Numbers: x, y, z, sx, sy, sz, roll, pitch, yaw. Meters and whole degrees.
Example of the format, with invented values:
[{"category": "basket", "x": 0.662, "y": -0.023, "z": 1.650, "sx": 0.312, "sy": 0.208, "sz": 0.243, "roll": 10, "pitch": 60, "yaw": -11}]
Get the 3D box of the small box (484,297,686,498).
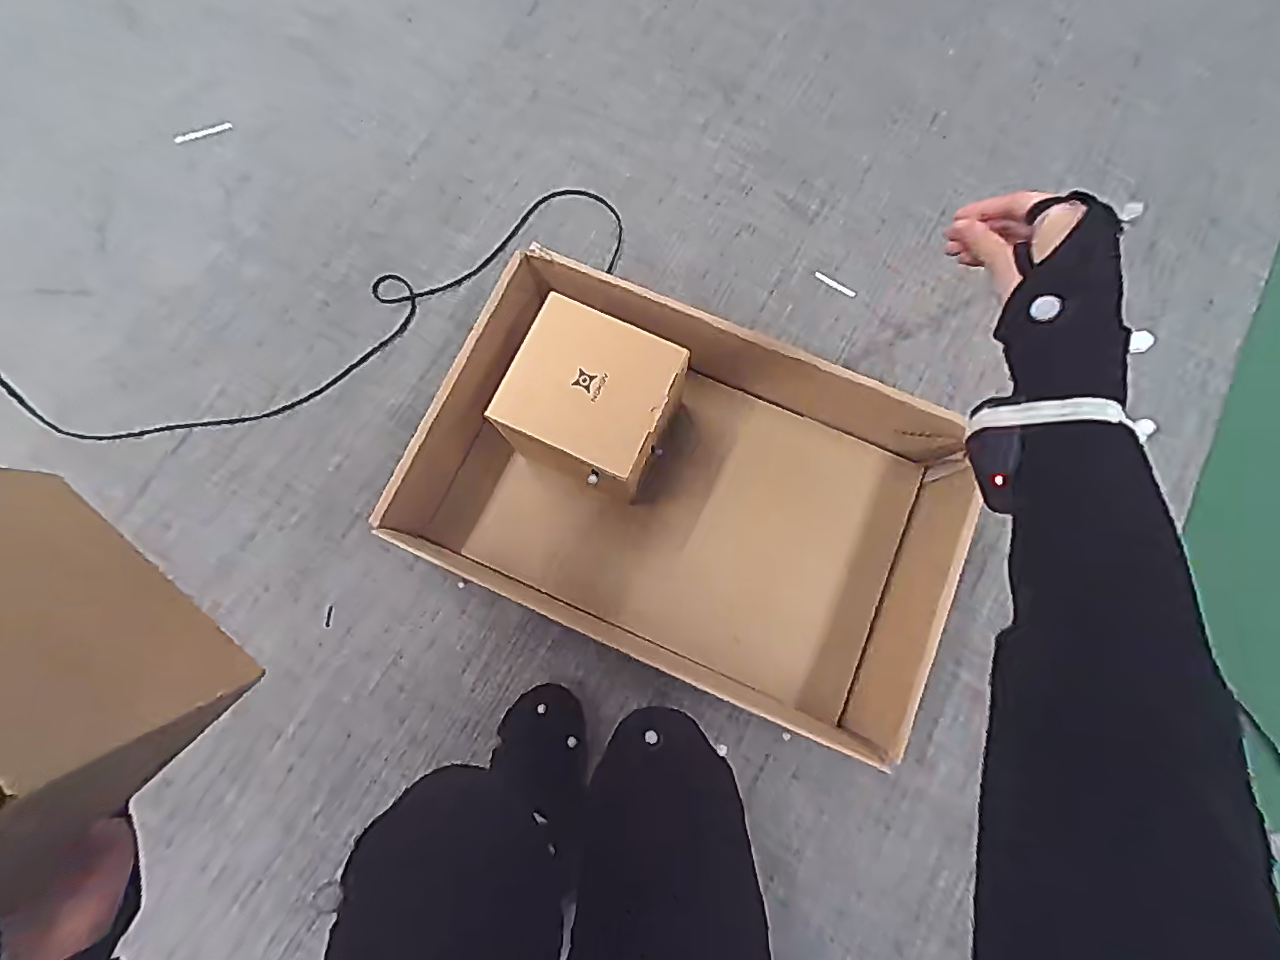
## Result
[{"category": "small box", "x": -0.061, "y": -0.089, "z": 0.676, "sx": 0.179, "sy": 0.176, "sz": 0.168, "roll": 25, "pitch": 80, "yaw": 4}]
